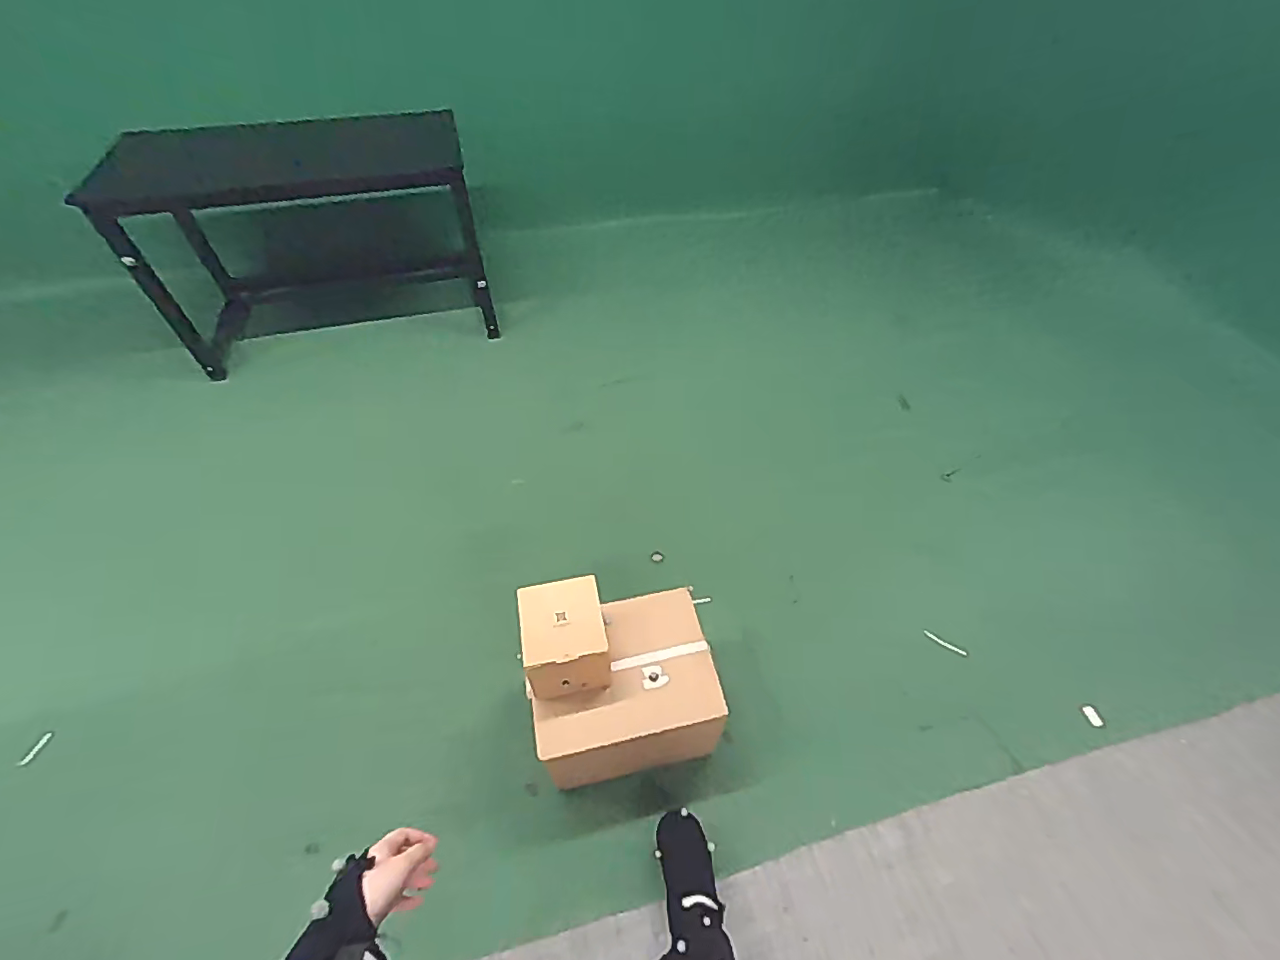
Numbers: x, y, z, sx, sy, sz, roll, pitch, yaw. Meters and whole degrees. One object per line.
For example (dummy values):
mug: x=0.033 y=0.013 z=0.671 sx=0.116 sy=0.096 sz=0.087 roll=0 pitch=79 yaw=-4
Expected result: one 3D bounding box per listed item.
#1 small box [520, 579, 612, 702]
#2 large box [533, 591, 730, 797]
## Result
small box: x=-0.155 y=0.336 z=1.132 sx=0.168 sy=0.176 sz=0.179 roll=-9 pitch=50 yaw=-9
large box: x=-0.040 y=0.514 z=1.300 sx=0.408 sy=0.320 sz=0.320 roll=-10 pitch=51 yaw=-9
